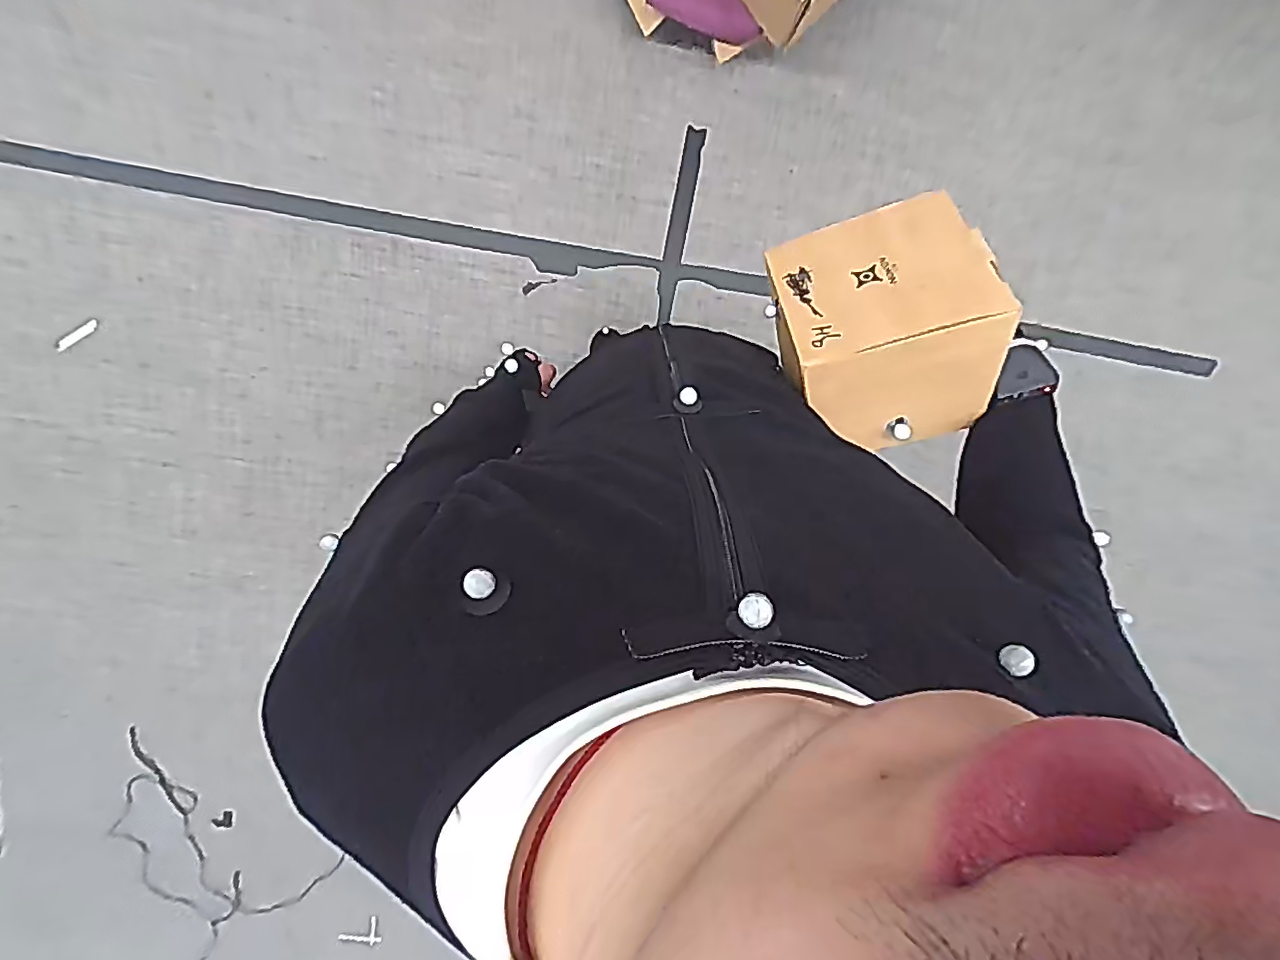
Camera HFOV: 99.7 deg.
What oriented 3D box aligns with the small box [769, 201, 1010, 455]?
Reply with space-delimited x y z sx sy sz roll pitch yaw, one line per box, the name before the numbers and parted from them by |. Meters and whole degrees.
small box | 0.246 -0.150 0.576 0.179 0.168 0.176 -14 147 13
